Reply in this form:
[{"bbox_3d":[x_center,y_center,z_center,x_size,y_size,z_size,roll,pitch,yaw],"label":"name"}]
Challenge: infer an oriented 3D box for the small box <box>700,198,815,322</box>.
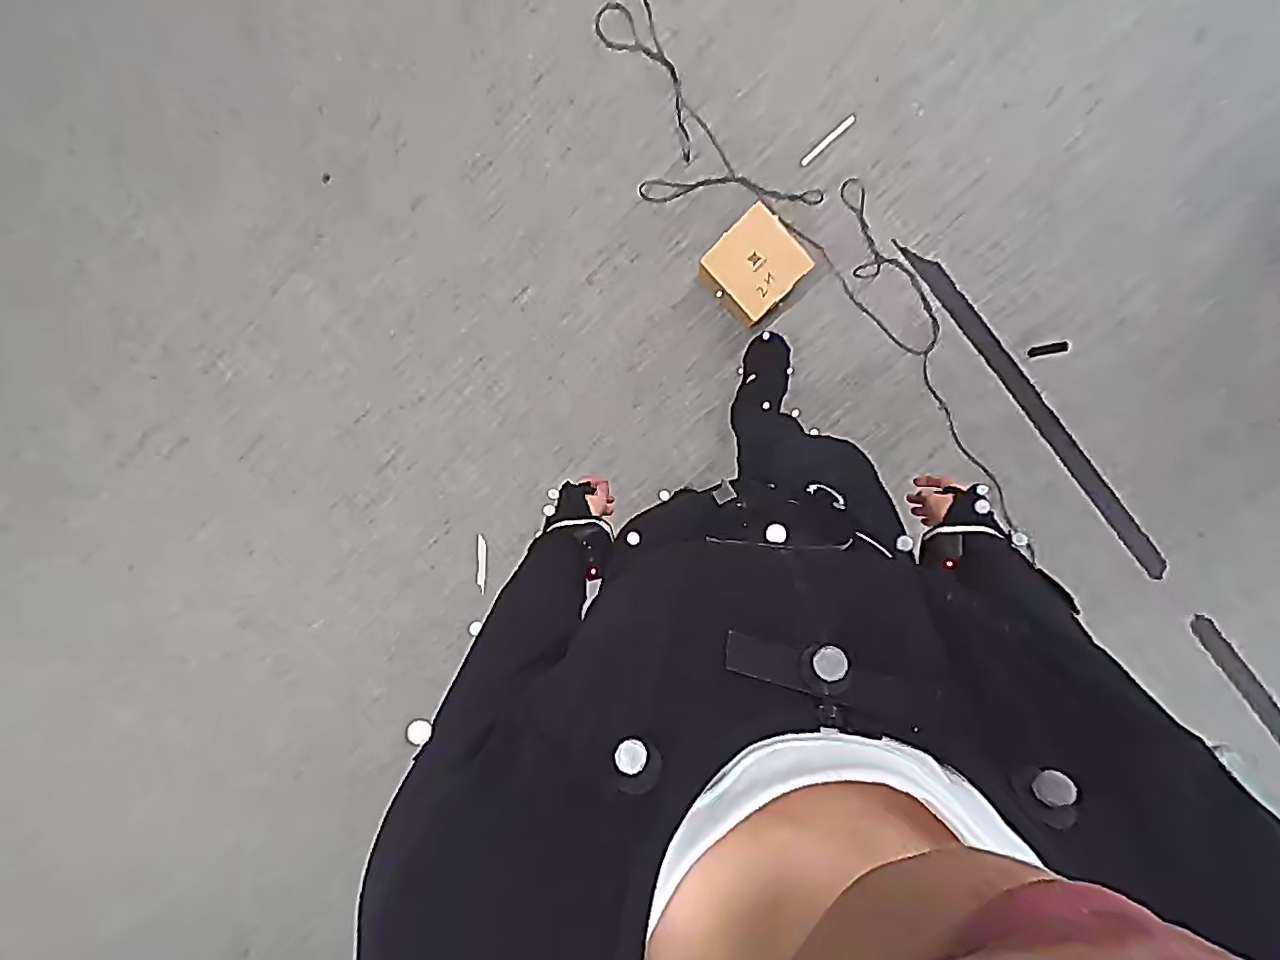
[{"bbox_3d":[0.245,-0.464,1.178,0.168,0.176,0.179,-43,94,12],"label":"small box"}]
